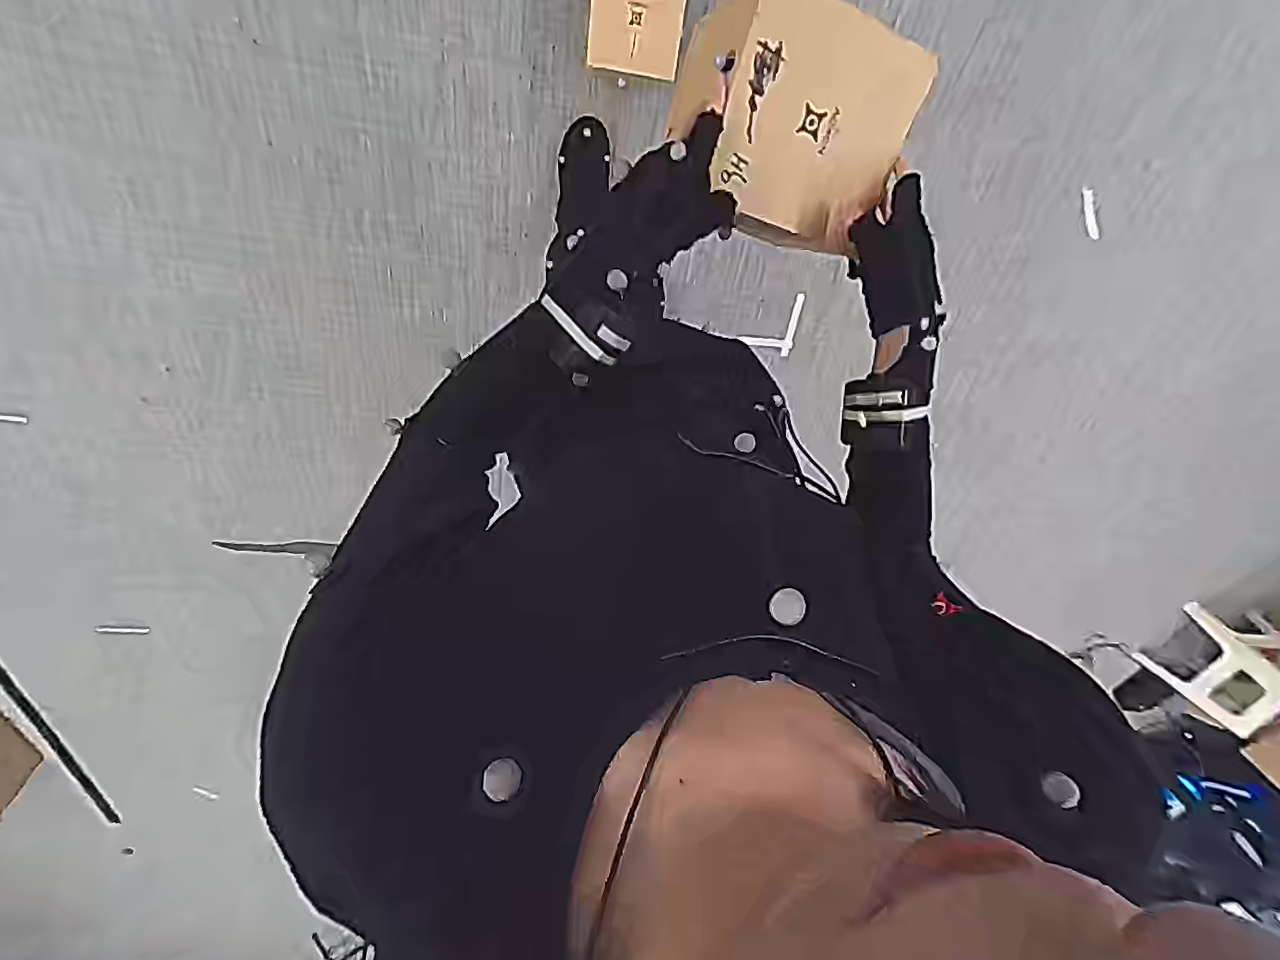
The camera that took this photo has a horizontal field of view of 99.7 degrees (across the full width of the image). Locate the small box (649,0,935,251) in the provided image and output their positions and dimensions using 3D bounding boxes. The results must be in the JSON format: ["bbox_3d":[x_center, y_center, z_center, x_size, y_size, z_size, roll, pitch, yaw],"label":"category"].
[{"bbox_3d":[0.130,-0.342,0.528,0.179,0.176,0.168,11,113,-21],"label":"small box"}]

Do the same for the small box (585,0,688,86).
[{"bbox_3d":[-0.012,-0.855,1.004,0.168,0.176,0.179,4,125,-10],"label":"small box"}]
